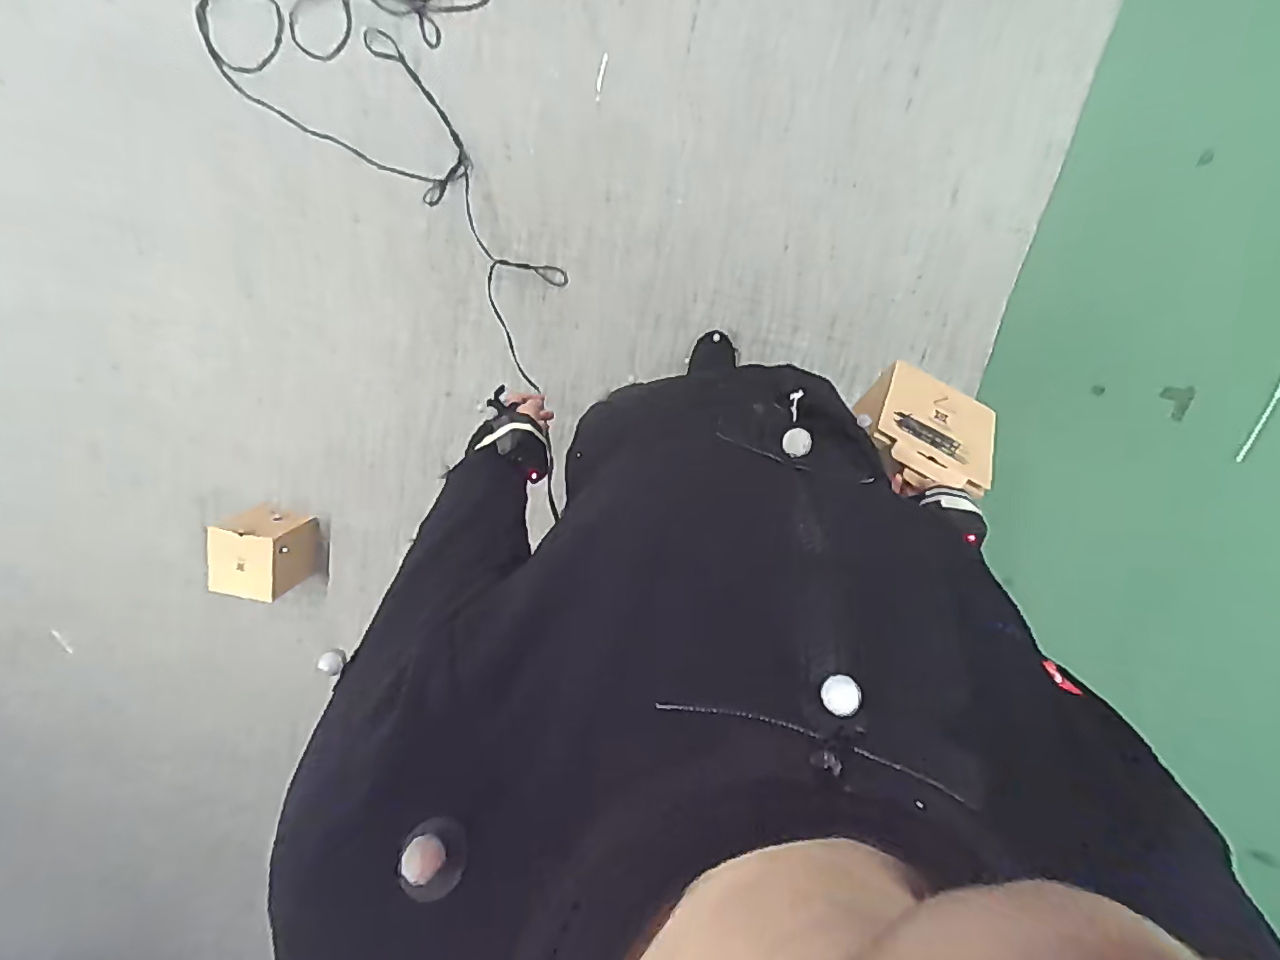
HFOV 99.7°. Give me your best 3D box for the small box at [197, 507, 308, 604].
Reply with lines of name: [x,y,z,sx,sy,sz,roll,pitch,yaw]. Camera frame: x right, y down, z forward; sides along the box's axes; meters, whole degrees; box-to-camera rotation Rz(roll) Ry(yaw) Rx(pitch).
small box: [-0.977,0.186,1.374,0.168,0.176,0.179,11,104,0]
